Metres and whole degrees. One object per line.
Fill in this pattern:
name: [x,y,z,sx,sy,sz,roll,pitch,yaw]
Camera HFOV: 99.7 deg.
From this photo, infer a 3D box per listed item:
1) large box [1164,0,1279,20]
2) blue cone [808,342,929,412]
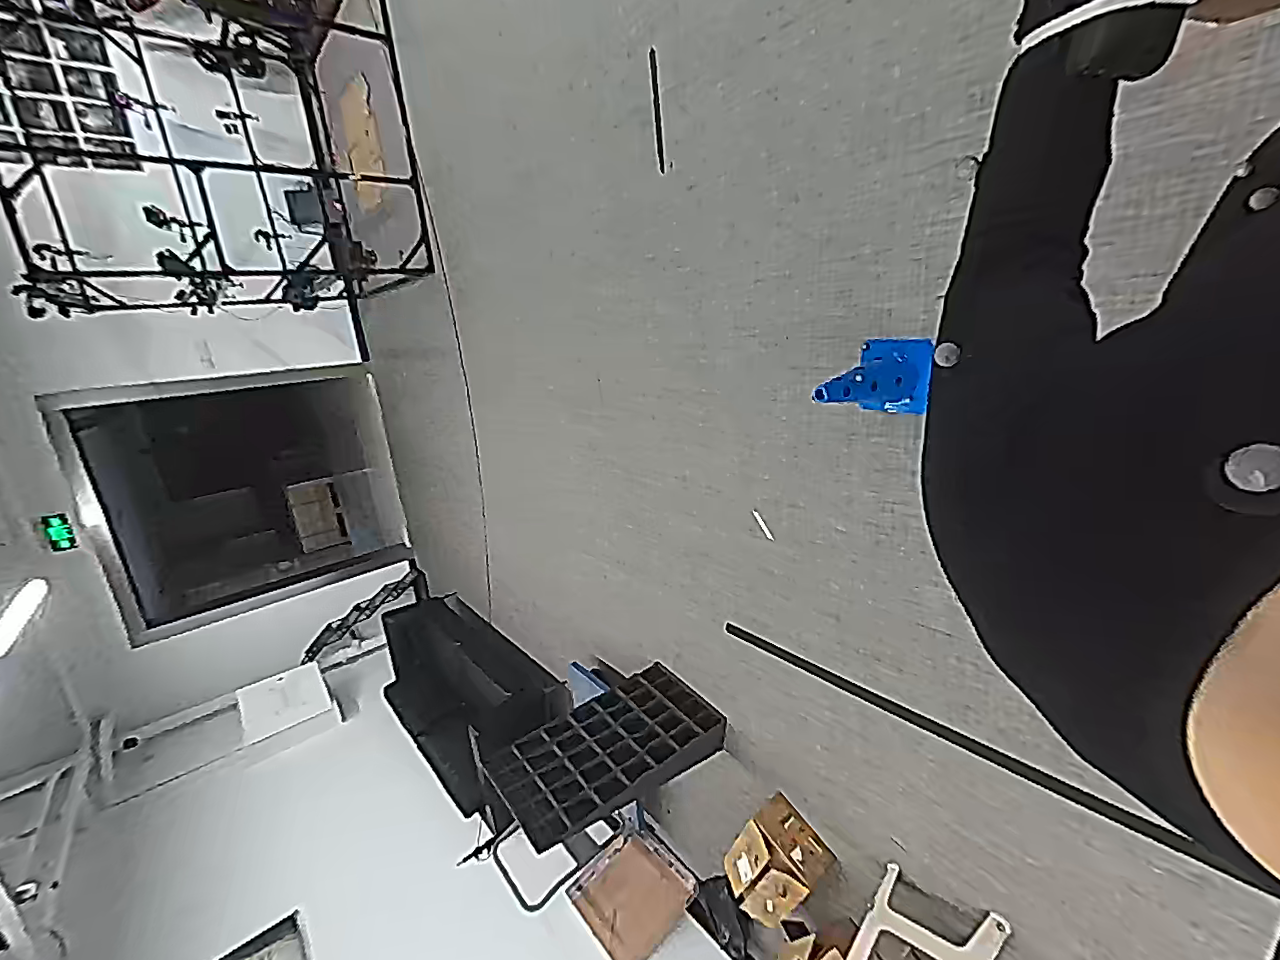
large box: [0.528,-0.482,0.229,0.408,0.320,0.320,13,125,49]
blue cone: [0.577,-0.248,1.415,0.192,0.380,0.193,19,119,49]
